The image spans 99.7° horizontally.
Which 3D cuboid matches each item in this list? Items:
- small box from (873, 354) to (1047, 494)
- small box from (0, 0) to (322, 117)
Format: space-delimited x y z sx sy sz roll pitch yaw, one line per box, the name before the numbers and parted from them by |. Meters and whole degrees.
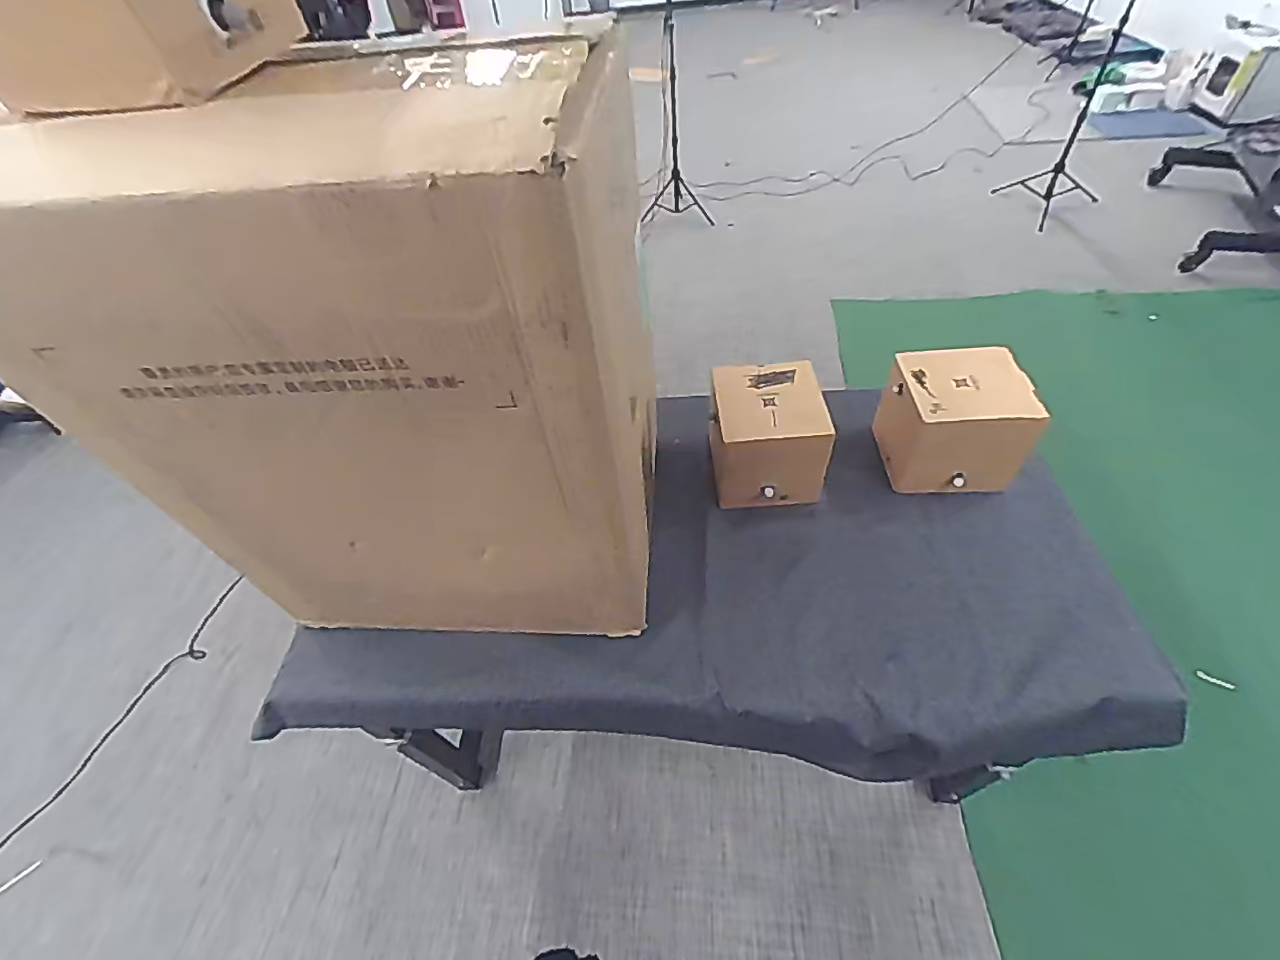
small box | 0.512 -0.089 0.897 0.179 0.176 0.168 -1 49 5
small box | -0.388 -0.393 0.399 0.179 0.176 0.168 5 56 8
